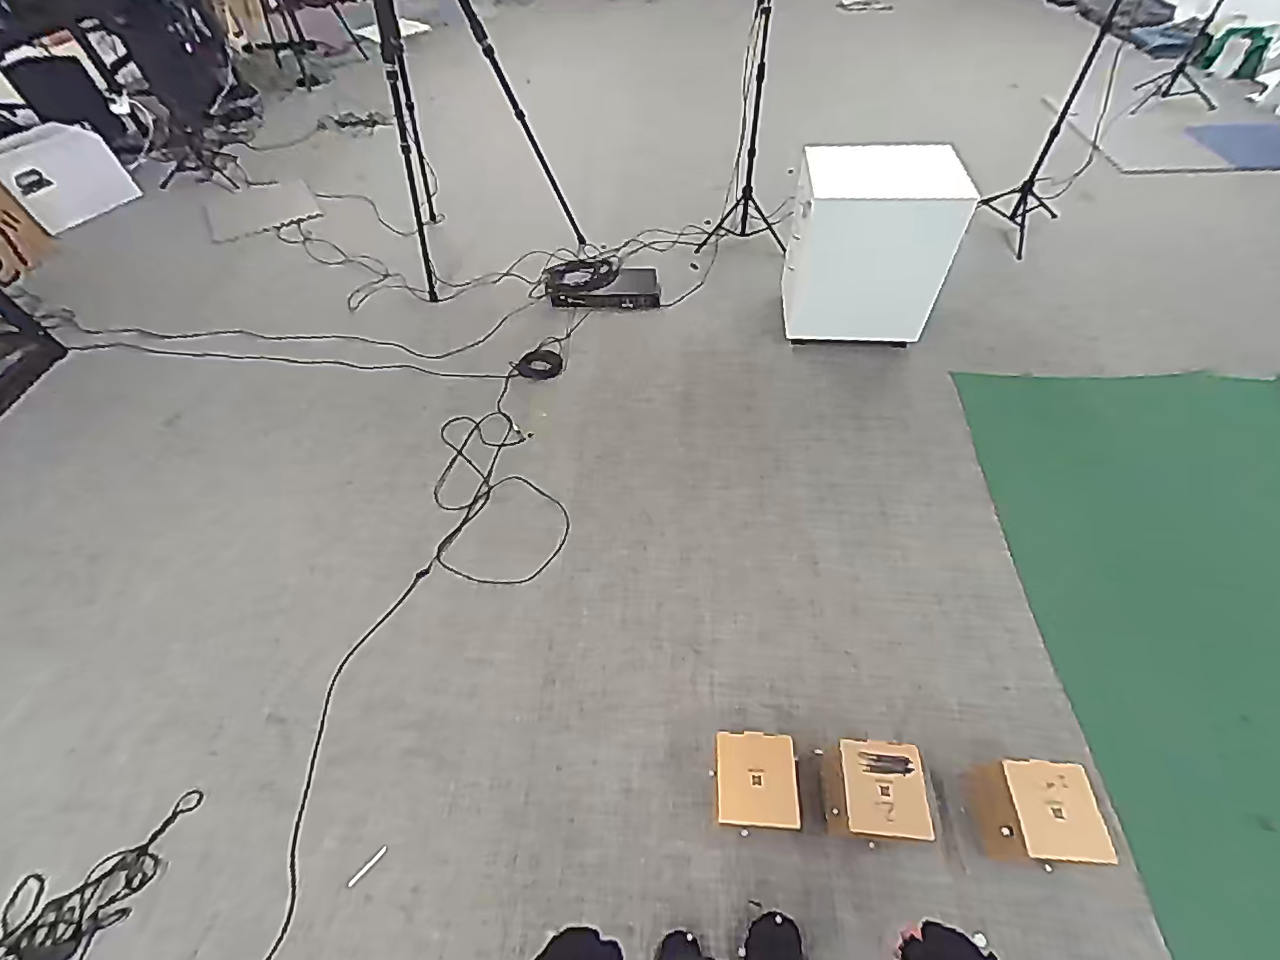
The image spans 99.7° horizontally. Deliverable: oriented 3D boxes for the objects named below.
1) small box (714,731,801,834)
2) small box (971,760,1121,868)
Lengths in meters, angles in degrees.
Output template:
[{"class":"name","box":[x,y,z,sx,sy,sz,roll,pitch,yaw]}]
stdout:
[{"class":"small box","box":[0.253,0.673,1.198,0.168,0.176,0.179,1,52,5]},{"class":"small box","box":[0.840,0.707,1.140,0.168,0.176,0.179,2,53,4]}]
